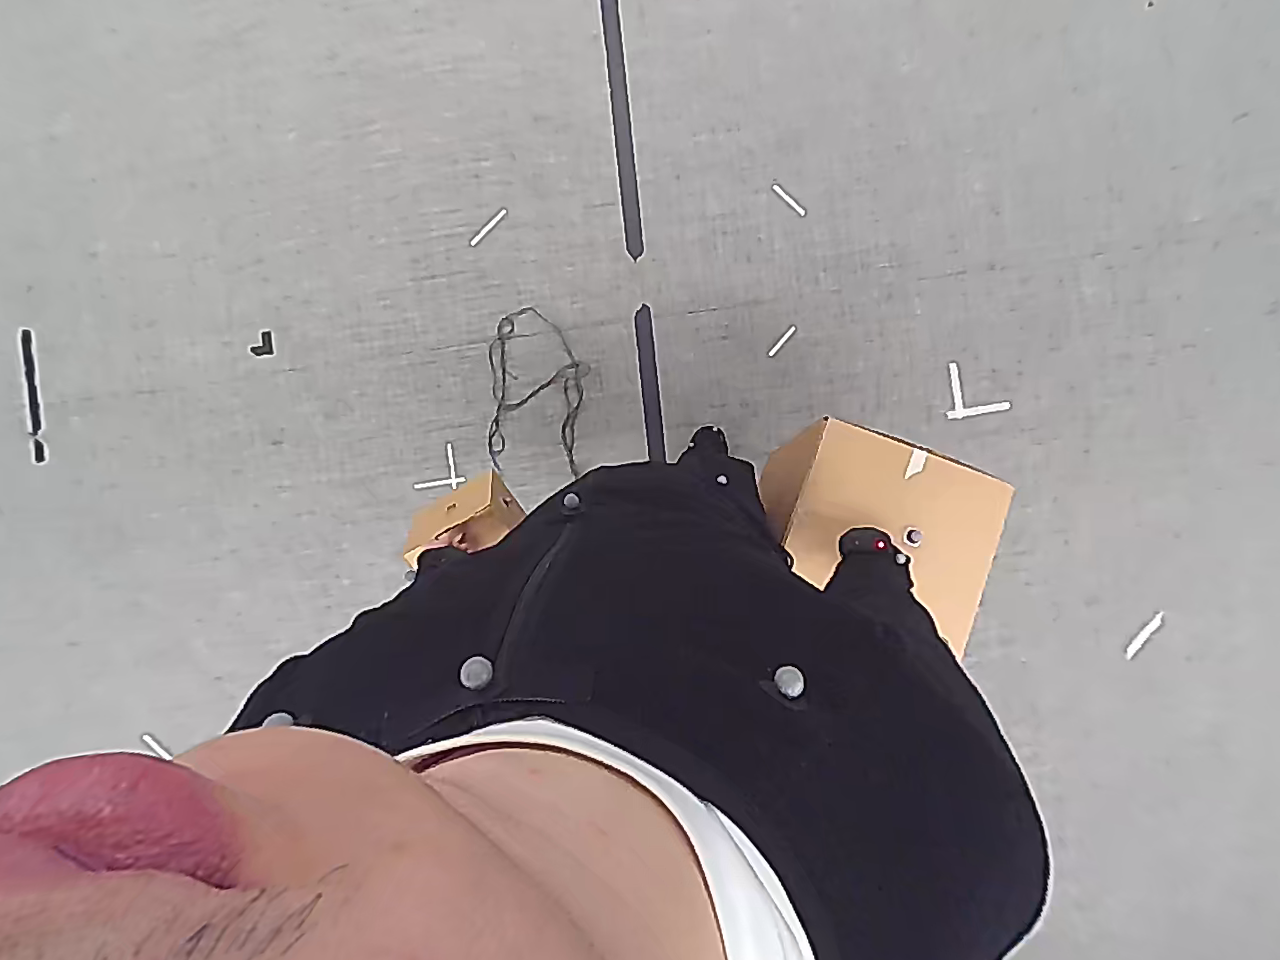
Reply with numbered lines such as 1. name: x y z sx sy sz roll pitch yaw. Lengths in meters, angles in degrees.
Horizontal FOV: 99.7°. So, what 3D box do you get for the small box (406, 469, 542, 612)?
1. small box: -0.291 0.115 0.984 0.168 0.179 0.176 -30 117 0
